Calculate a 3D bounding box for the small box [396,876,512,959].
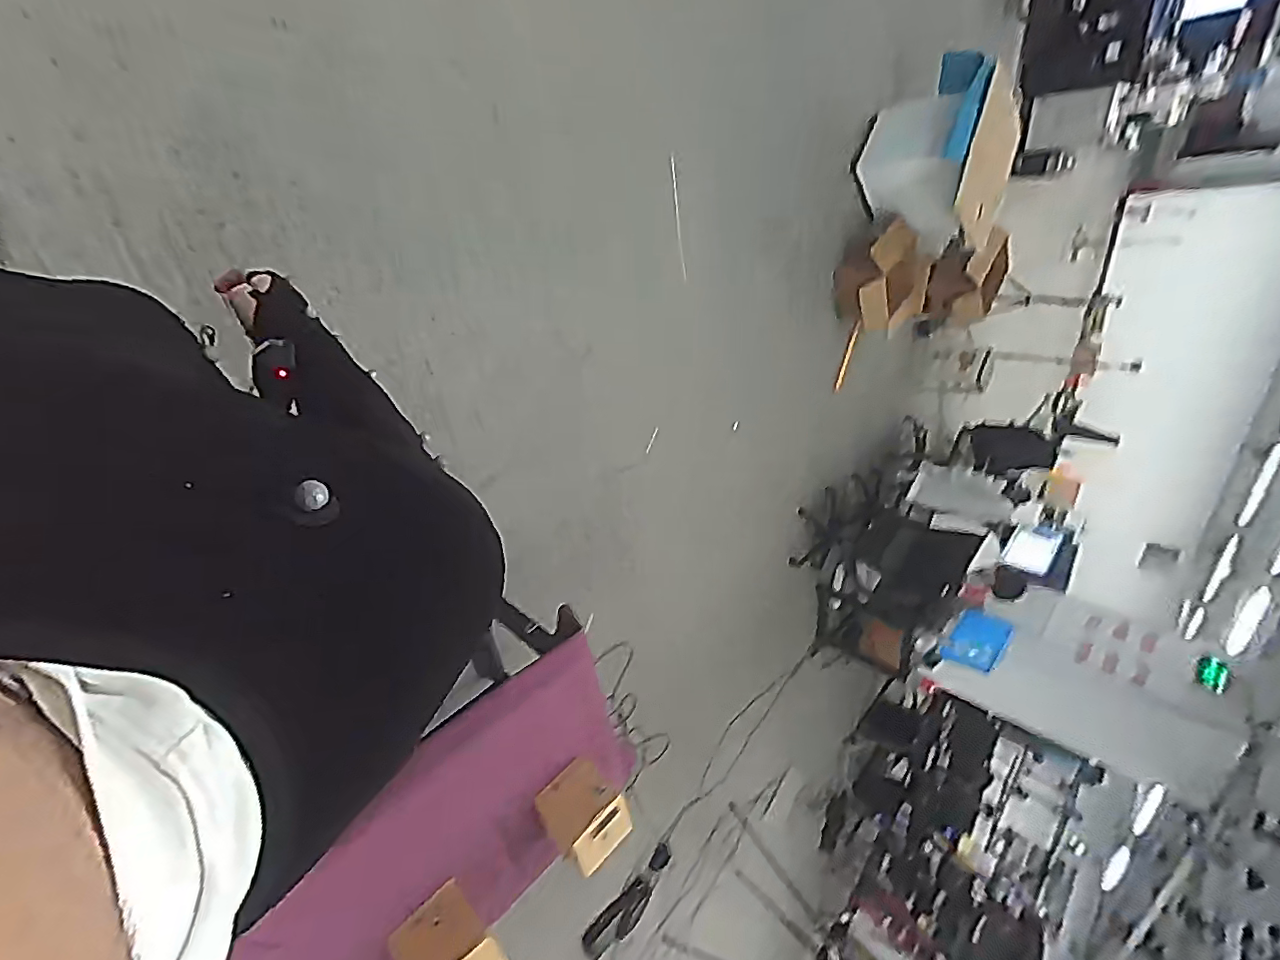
[{"bbox_3d":[-0.419,1.055,1.222,0.168,0.176,0.179,-32,125,-34],"label":"small box"}]
